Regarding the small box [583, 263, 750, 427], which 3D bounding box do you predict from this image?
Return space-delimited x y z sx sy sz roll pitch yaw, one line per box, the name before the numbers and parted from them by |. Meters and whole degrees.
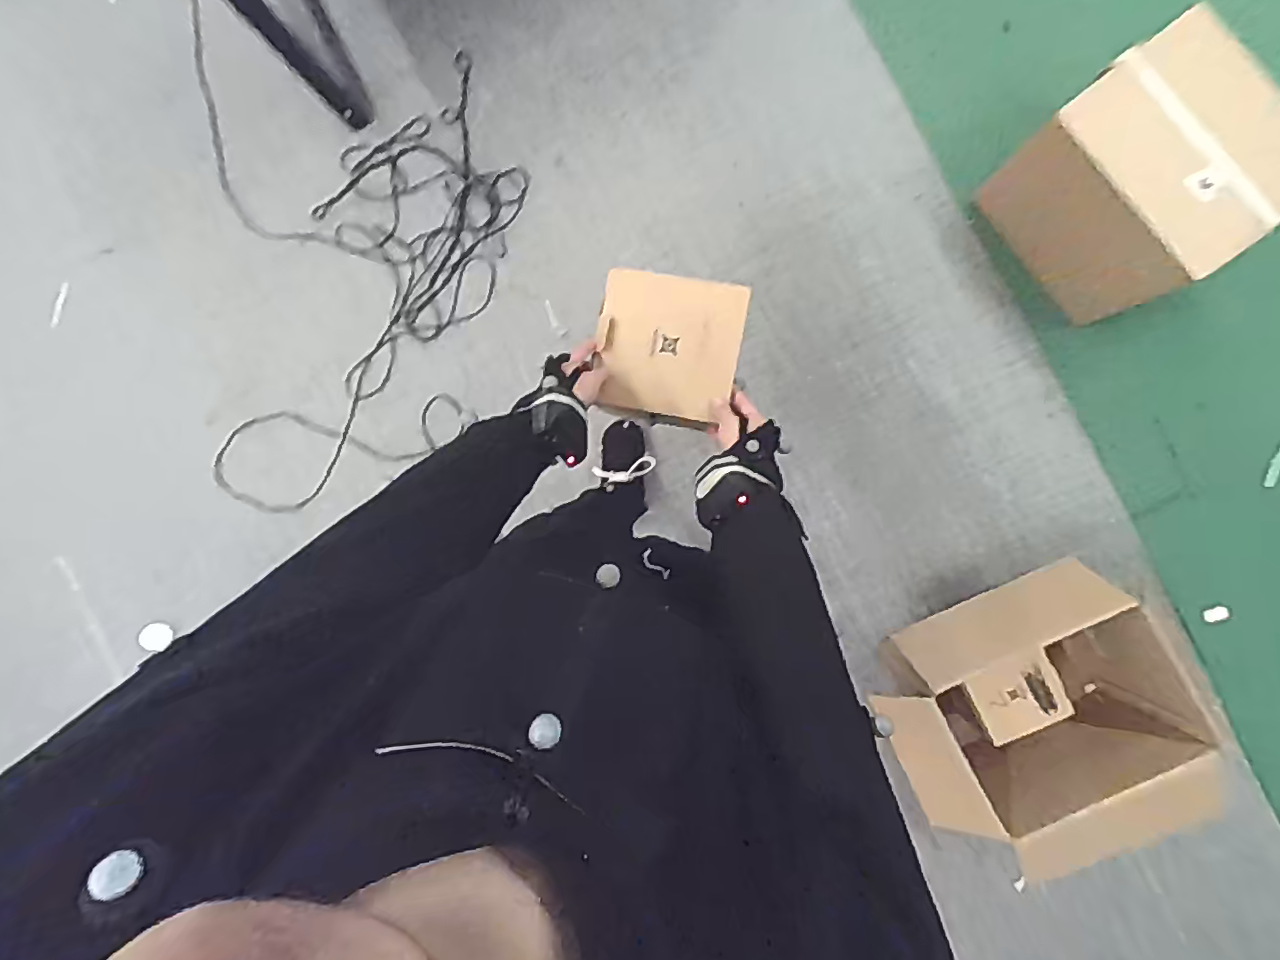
small box | 0.039 -0.168 0.722 0.179 0.176 0.168 10 93 6
